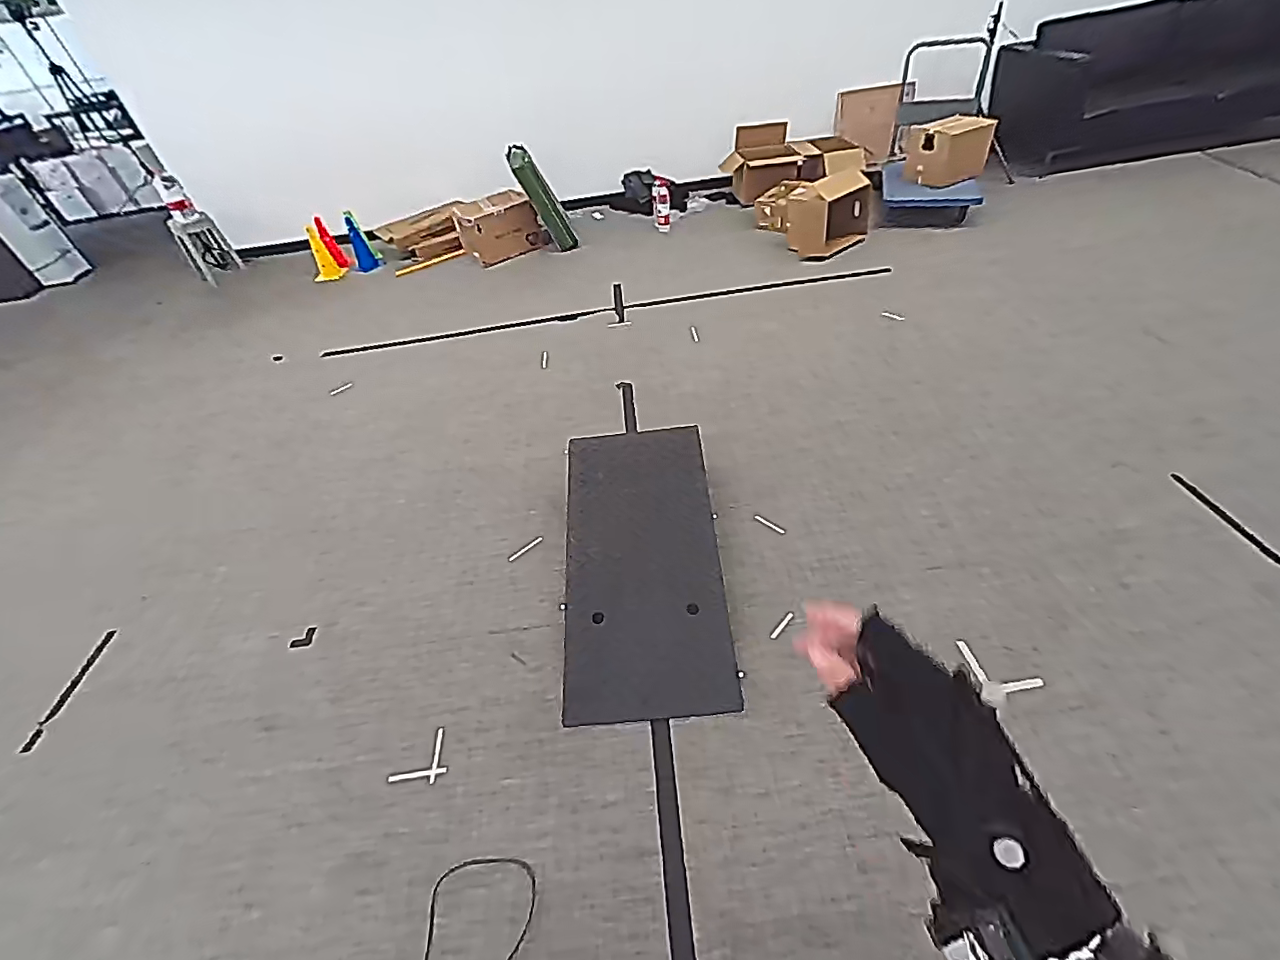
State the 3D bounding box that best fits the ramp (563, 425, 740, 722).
[{"bbox_3d":[0.002,0.229,1.742,0.509,0.206,0.991,-7,44,1],"label":"ramp"}]
